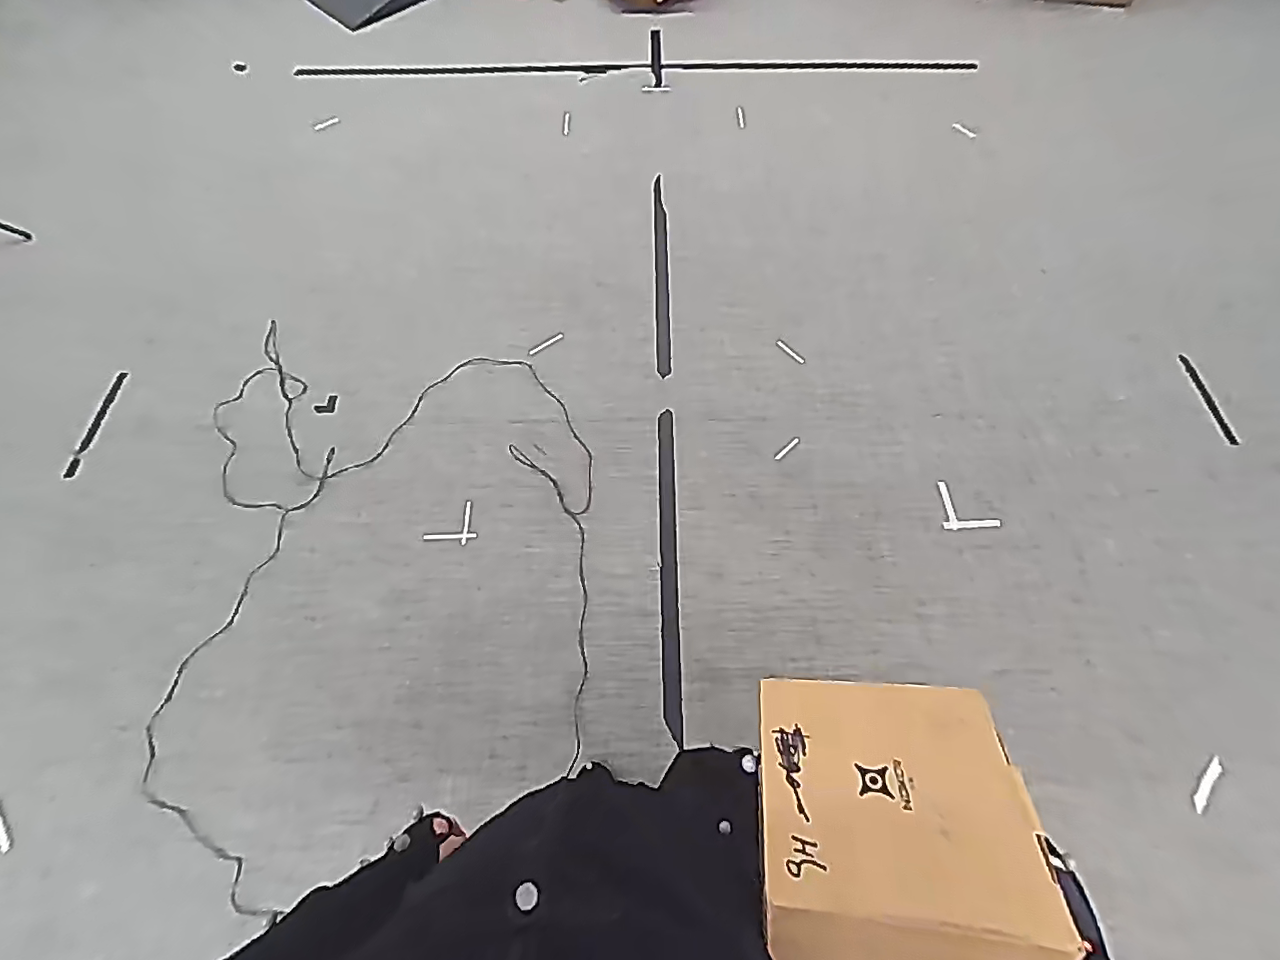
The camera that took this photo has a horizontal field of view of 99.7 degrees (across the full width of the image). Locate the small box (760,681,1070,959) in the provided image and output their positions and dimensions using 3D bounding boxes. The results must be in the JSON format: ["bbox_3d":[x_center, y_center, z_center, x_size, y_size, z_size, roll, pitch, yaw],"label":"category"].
[{"bbox_3d":[0.189,0.292,0.438,0.179,0.176,0.168,0,32,12],"label":"small box"}]
